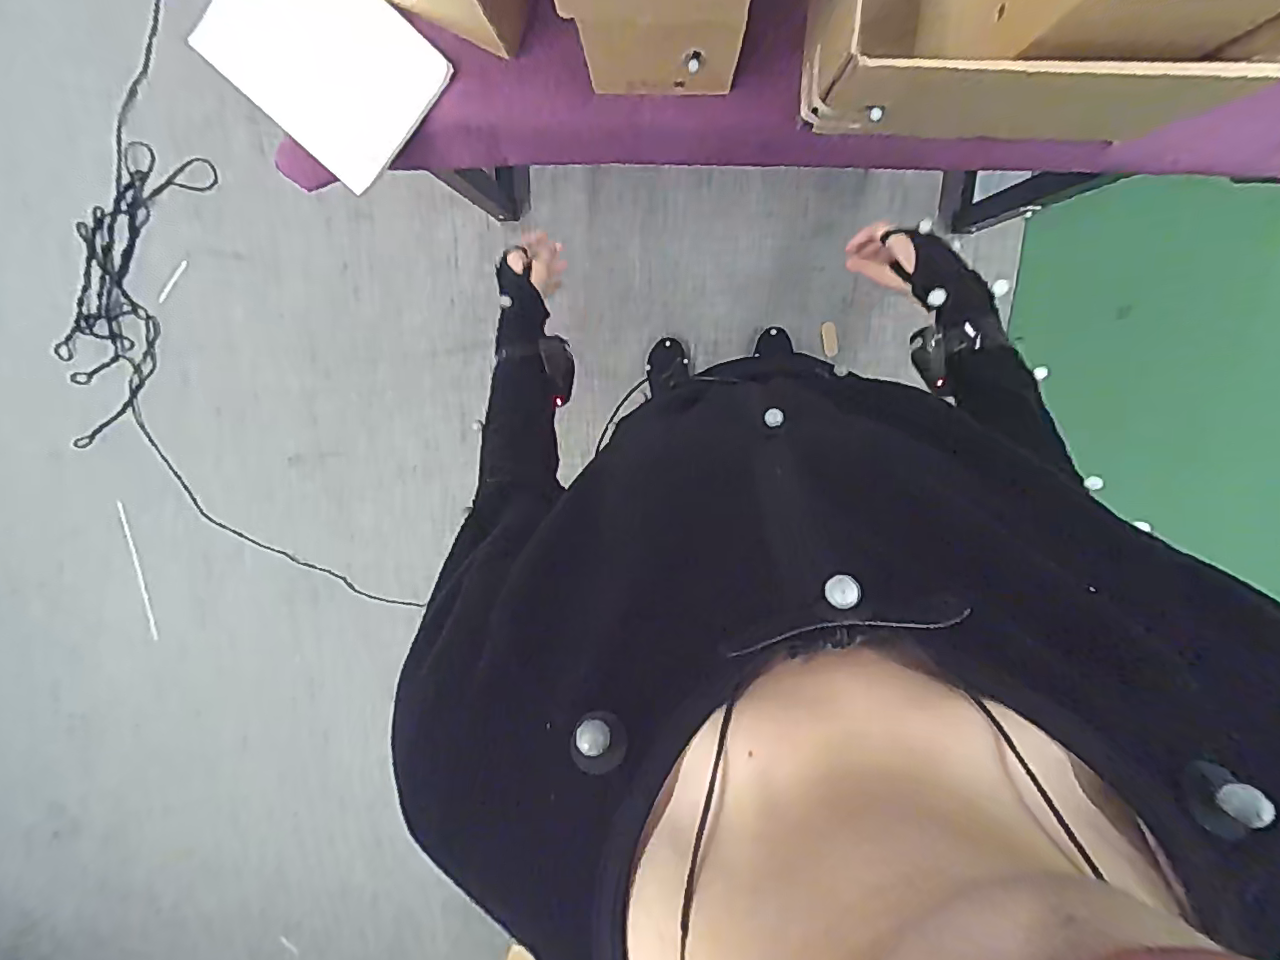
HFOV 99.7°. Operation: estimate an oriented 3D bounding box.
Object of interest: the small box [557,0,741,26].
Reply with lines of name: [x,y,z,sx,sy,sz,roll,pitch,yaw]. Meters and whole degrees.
small box: [0.012,-0.483,0.405,0.179,0.176,0.168,3,103,2]
